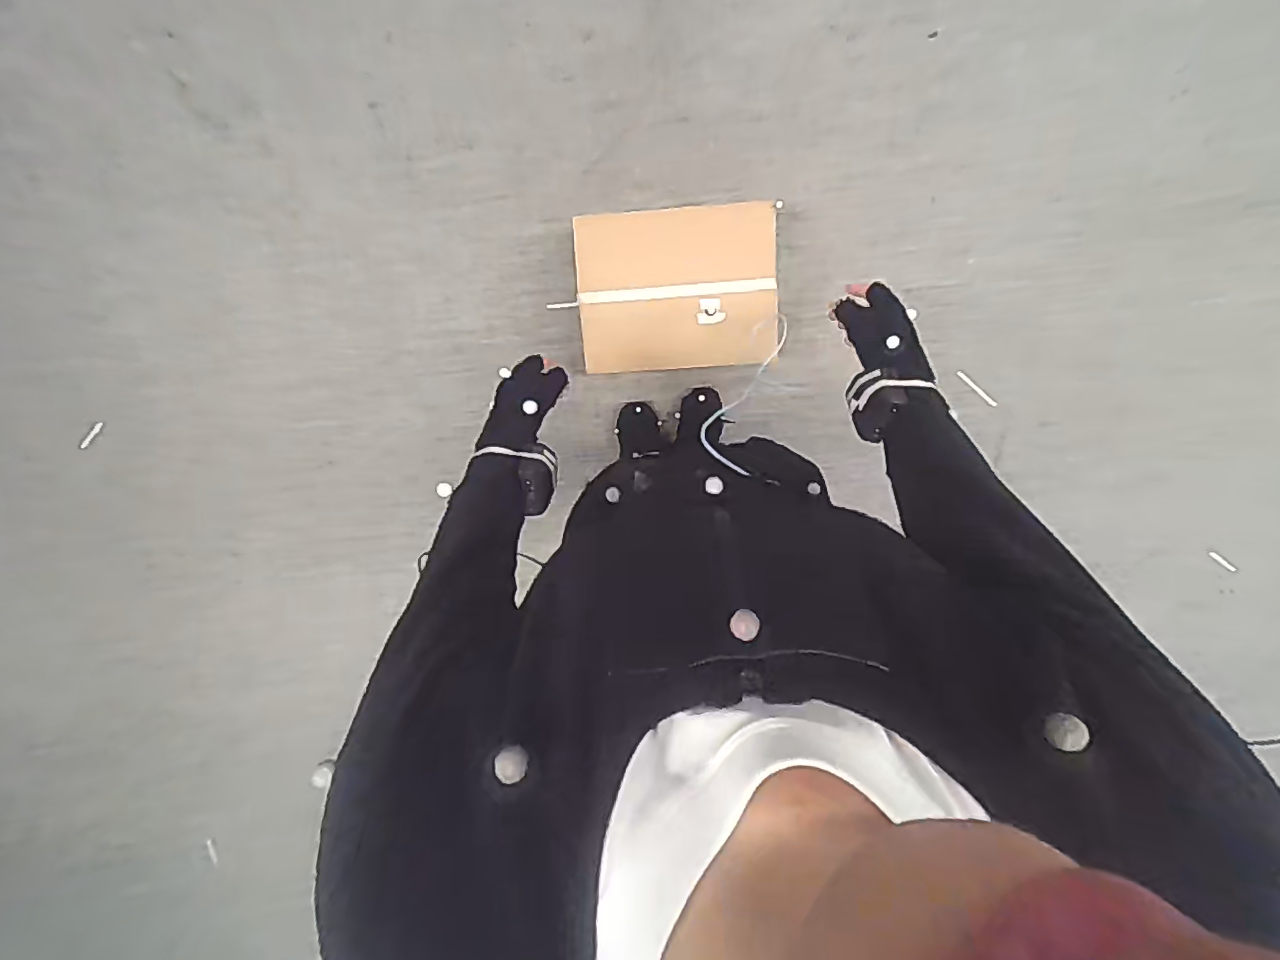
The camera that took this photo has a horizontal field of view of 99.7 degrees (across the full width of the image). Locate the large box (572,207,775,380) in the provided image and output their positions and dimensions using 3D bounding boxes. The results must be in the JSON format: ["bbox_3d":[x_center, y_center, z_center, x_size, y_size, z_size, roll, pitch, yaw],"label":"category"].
[{"bbox_3d":[0.073,-0.405,1.249,0.408,0.320,0.320,-4,102,2],"label":"large box"}]
